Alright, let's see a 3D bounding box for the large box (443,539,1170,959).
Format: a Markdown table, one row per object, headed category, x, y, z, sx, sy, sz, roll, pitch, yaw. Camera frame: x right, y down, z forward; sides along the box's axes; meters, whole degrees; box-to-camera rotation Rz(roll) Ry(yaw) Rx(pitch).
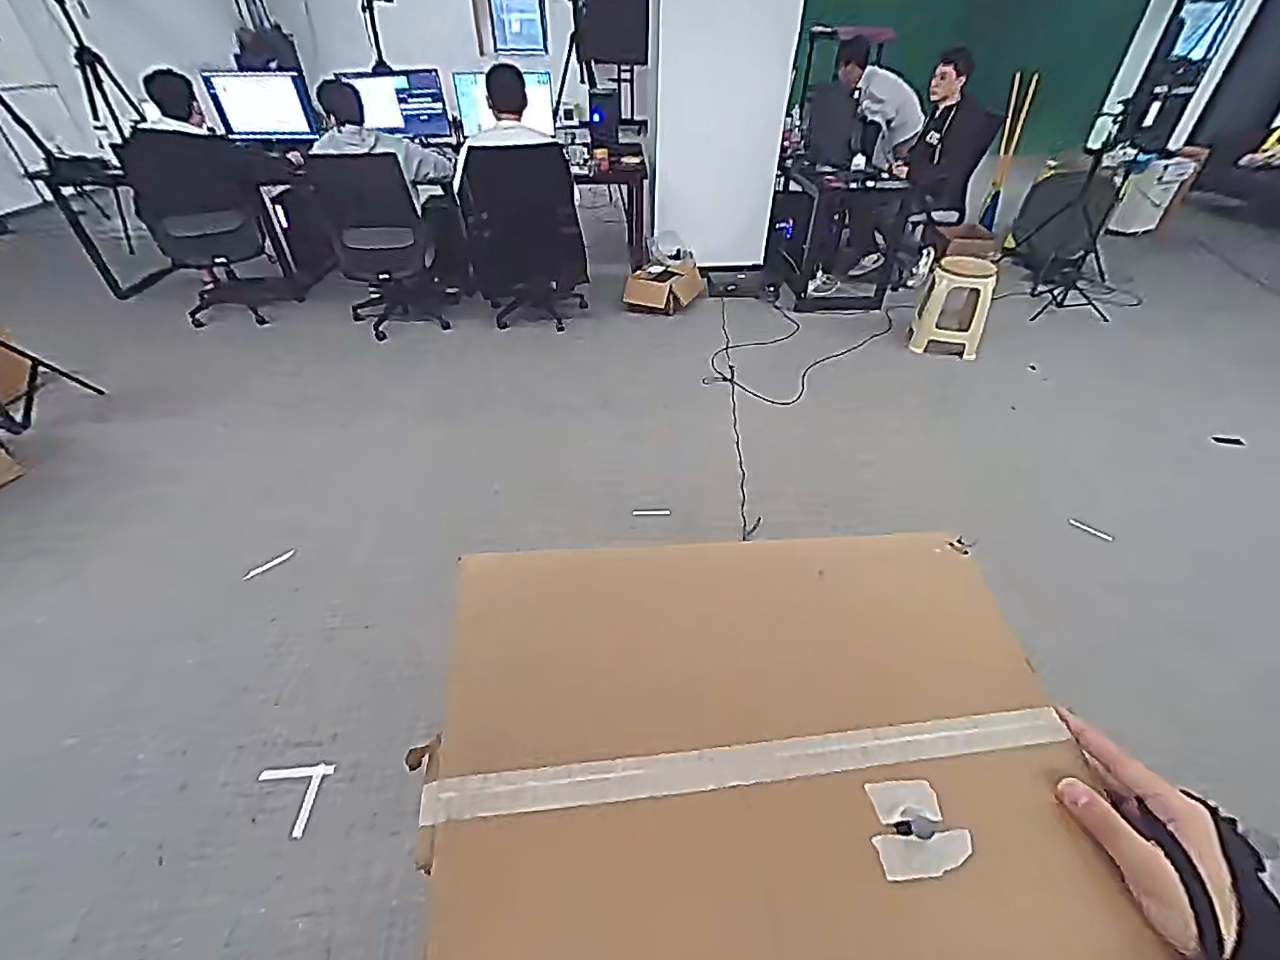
| category | x | y | z | sx | sy | sz | roll | pitch | yaw |
| --- | --- | --- | --- | --- | --- | --- | --- | --- | --- |
| large box | 0.066 | 0.271 | 0.460 | 0.408 | 0.320 | 0.320 | -1 | 53 | -11 |
